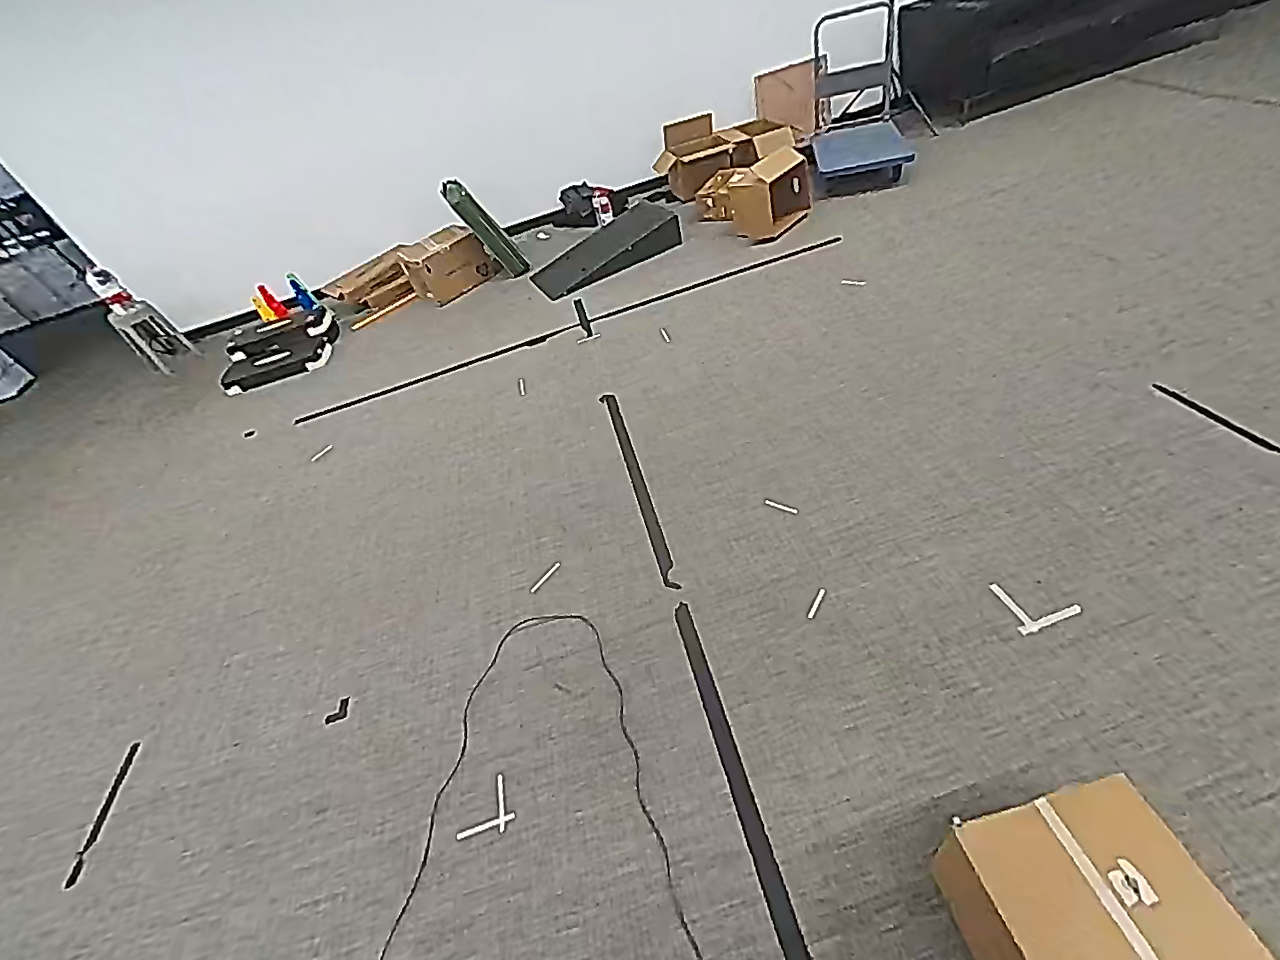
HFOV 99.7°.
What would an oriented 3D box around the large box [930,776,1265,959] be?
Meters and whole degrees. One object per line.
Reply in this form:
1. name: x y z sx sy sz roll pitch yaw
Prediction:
1. large box: 0.763 0.798 0.903 0.320 0.320 0.408 -17 42 -1
